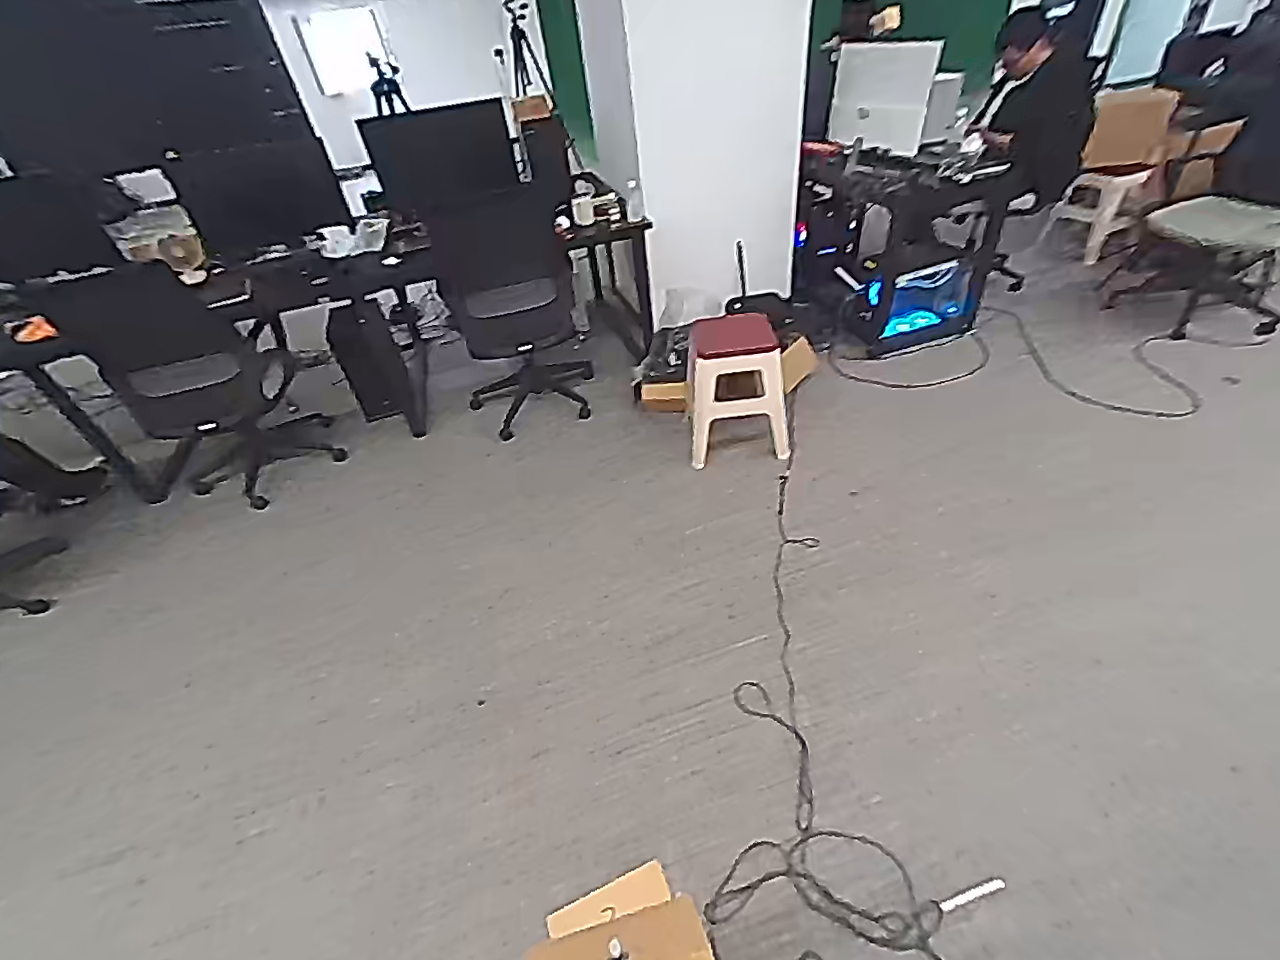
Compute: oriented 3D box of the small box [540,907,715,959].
[{"bbox_3d":[-0.004,0.491,0.446,0.179,0.176,0.168,-13,66,-7],"label":"small box"}]
